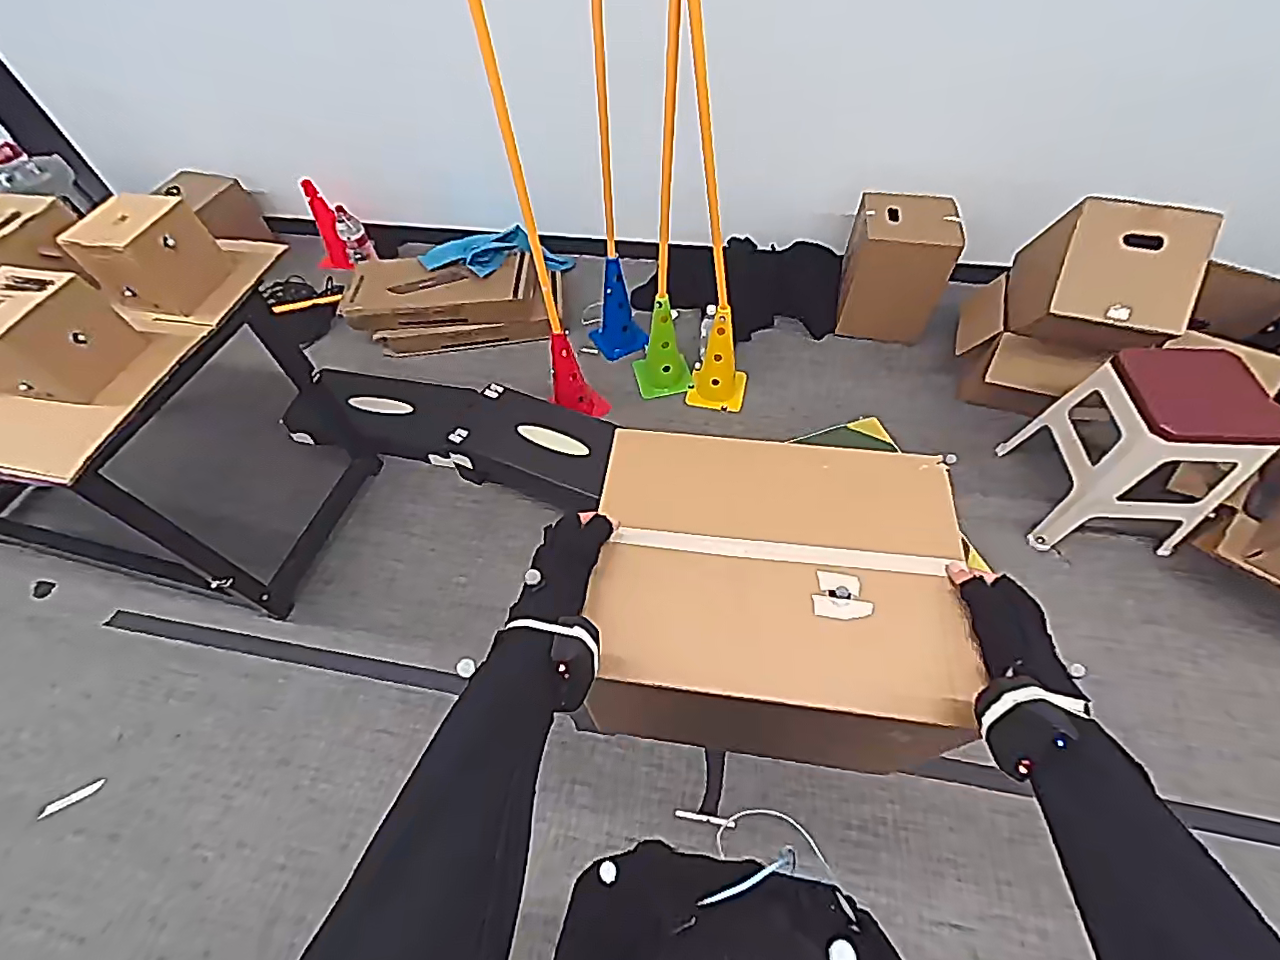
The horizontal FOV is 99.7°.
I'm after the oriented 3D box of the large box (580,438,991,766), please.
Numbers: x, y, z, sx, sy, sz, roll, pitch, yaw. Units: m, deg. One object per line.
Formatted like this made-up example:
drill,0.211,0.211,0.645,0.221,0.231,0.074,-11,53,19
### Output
large box,0.157,0.170,0.728,0.408,0.320,0.320,6,57,7
